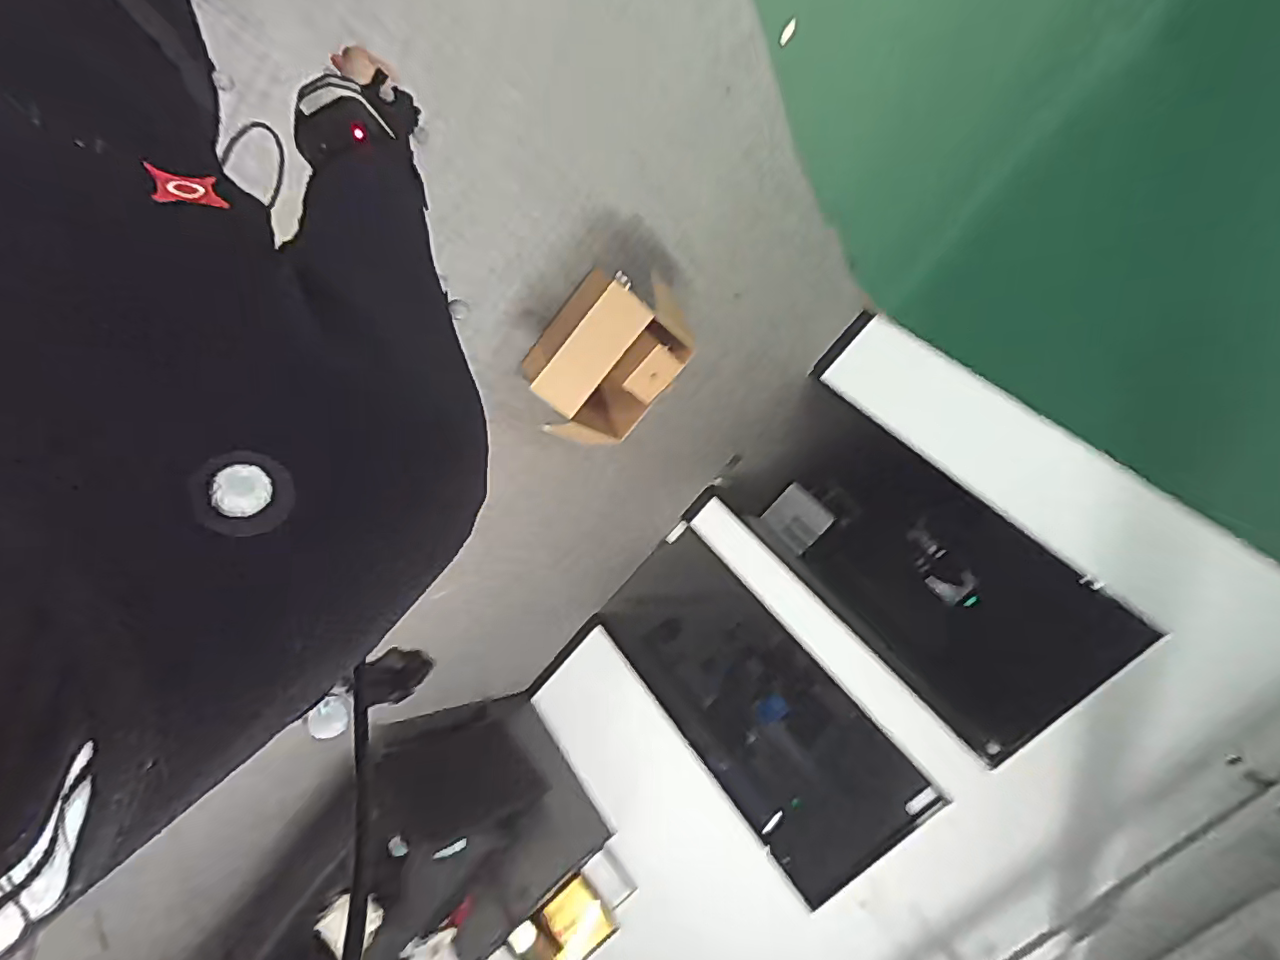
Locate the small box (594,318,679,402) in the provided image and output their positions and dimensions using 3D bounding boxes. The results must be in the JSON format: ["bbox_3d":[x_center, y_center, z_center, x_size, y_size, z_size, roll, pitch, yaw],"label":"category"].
[{"bbox_3d":[-0.012,-0.386,1.732,0.168,0.176,0.179,-47,150,11],"label":"small box"}]
